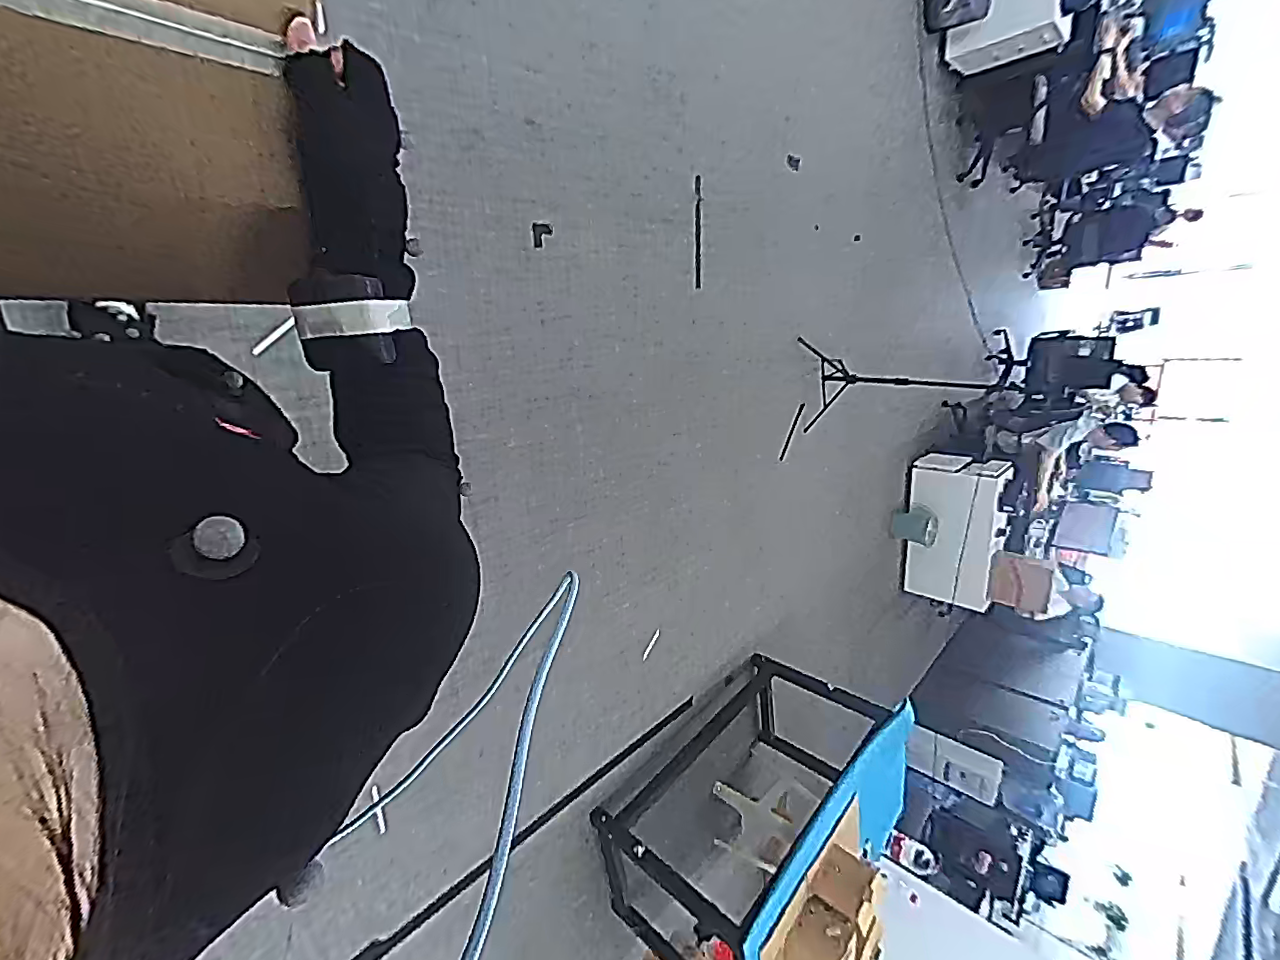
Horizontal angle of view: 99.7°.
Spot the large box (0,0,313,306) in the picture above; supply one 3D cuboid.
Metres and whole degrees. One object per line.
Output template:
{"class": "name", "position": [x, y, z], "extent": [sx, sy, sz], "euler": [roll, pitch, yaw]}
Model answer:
{"class": "large box", "position": [-0.448, -0.308, 0.288], "extent": [0.408, 0.320, 0.320], "euler": [-15, 139, -42]}
